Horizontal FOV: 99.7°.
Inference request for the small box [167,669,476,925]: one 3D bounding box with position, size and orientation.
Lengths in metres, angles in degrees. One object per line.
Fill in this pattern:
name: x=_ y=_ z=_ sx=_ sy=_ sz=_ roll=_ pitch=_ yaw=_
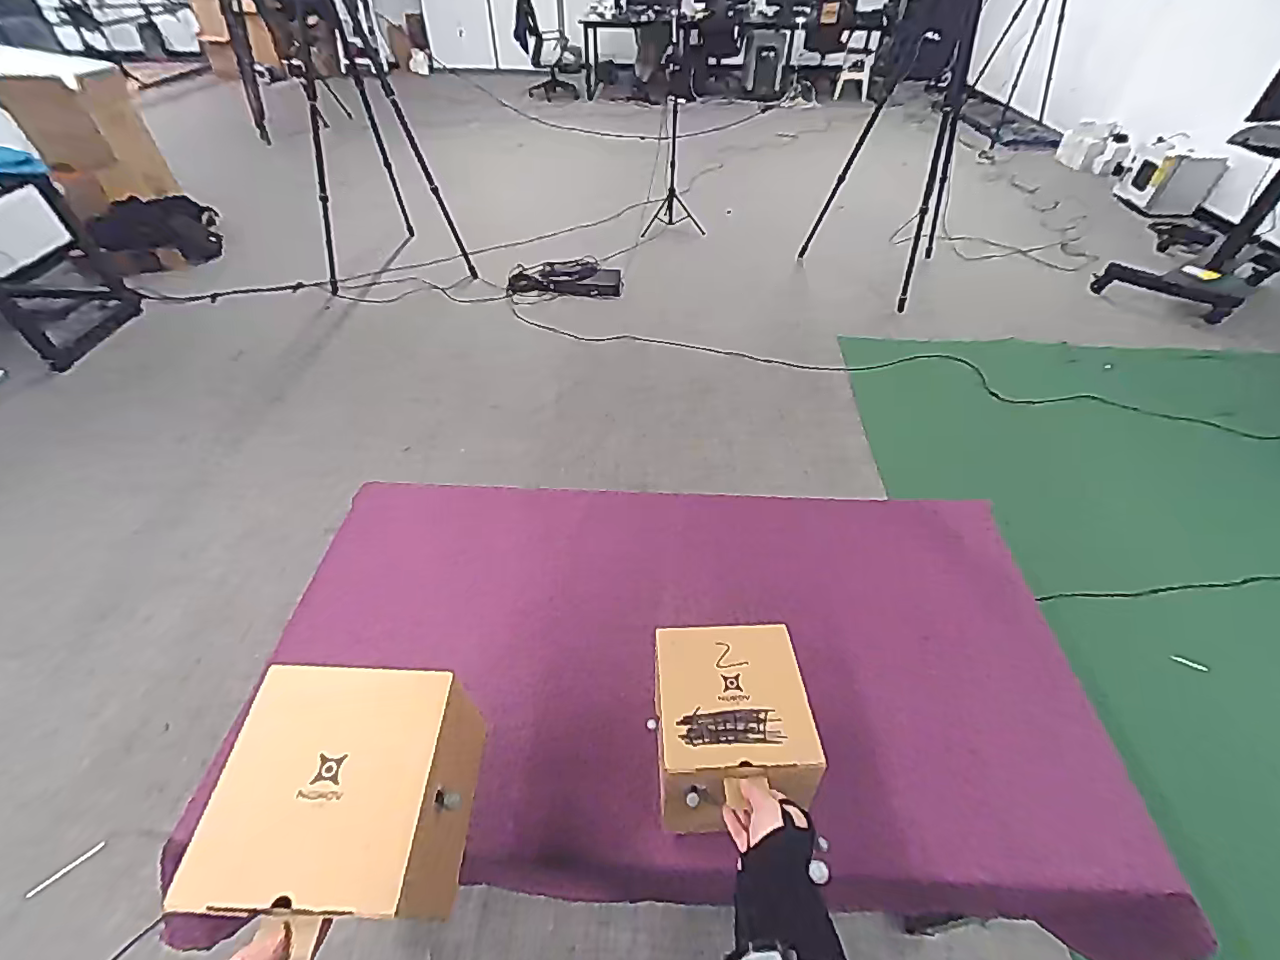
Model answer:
small box: x=-0.260 y=0.295 z=0.501 sx=0.168 sy=0.176 sz=0.179 roll=3 pitch=51 yaw=-1
